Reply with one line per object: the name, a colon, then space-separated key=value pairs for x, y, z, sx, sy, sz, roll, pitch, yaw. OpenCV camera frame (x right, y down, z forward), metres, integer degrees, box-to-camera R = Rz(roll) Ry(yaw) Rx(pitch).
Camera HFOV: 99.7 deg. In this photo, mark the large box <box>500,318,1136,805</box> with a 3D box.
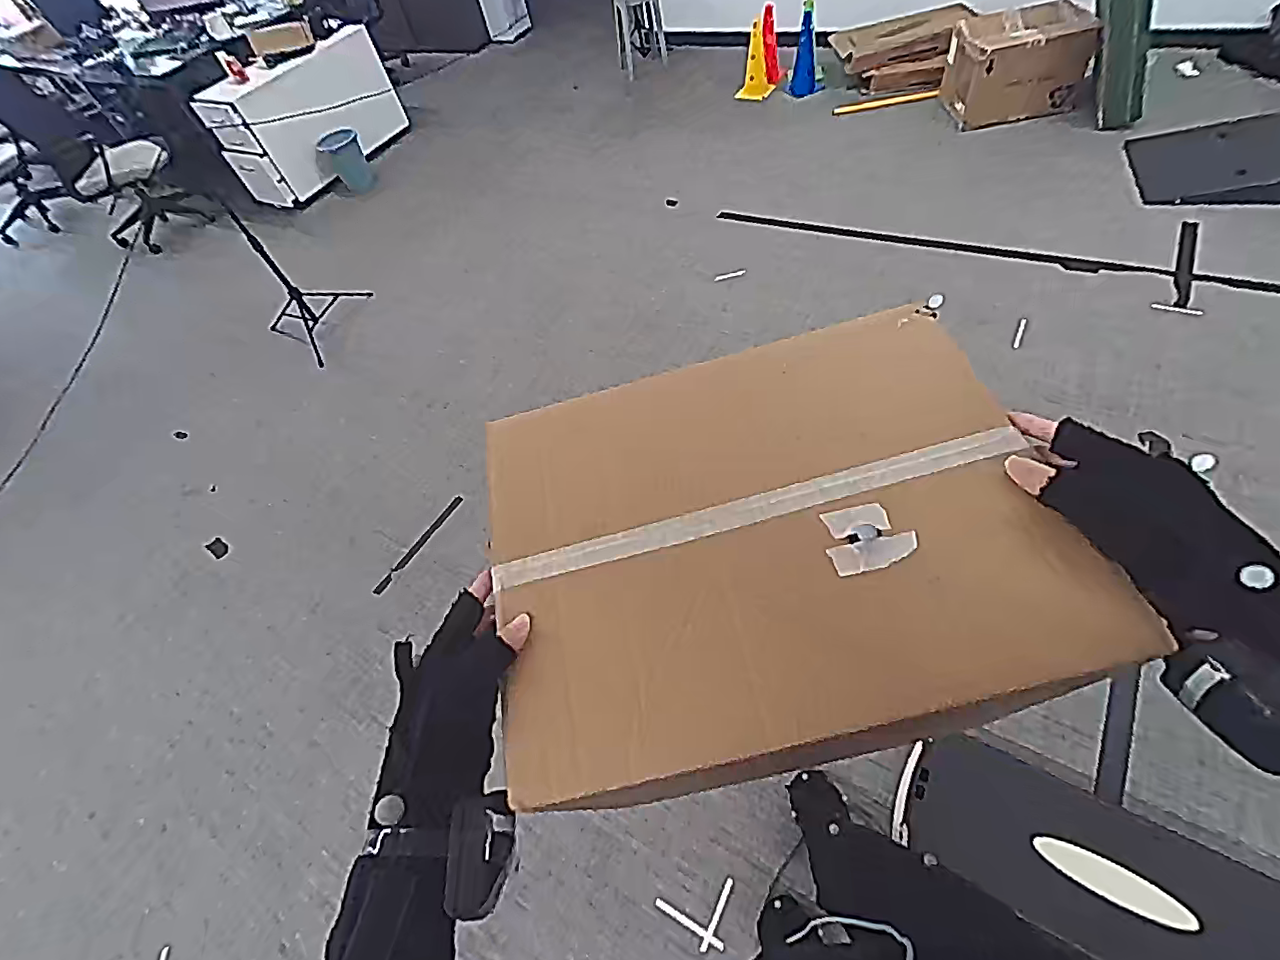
large box: x=0.113 y=0.105 z=0.545 sx=0.408 sy=0.320 sz=0.320 roll=-15 pitch=58 yaw=2
